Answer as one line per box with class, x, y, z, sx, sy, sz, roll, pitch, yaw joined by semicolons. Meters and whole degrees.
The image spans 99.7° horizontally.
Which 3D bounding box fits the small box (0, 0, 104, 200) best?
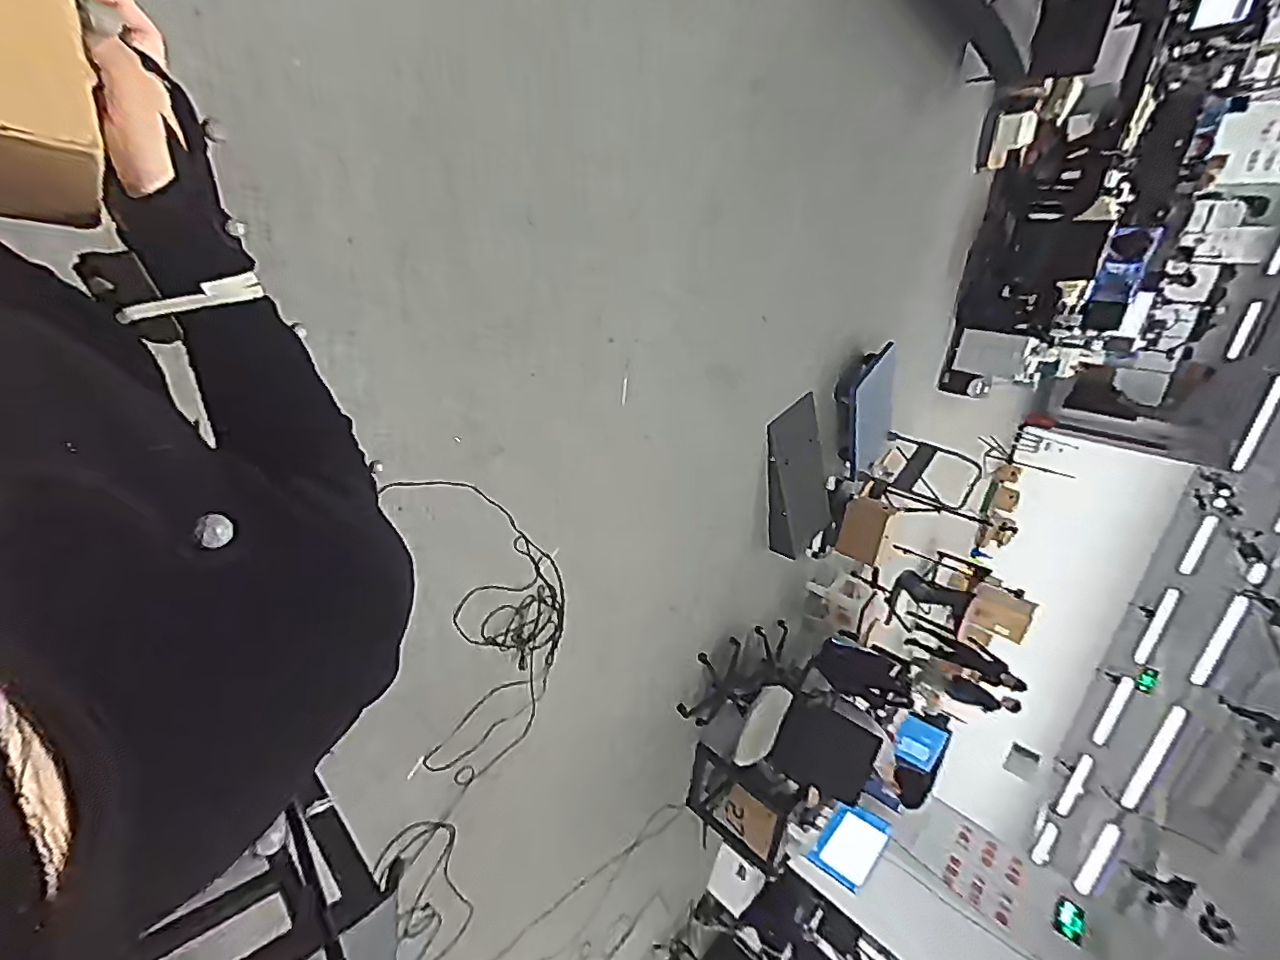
small box;-0.374;-0.254;0.243;0.168;0.176;0.179;-11;105;-45
